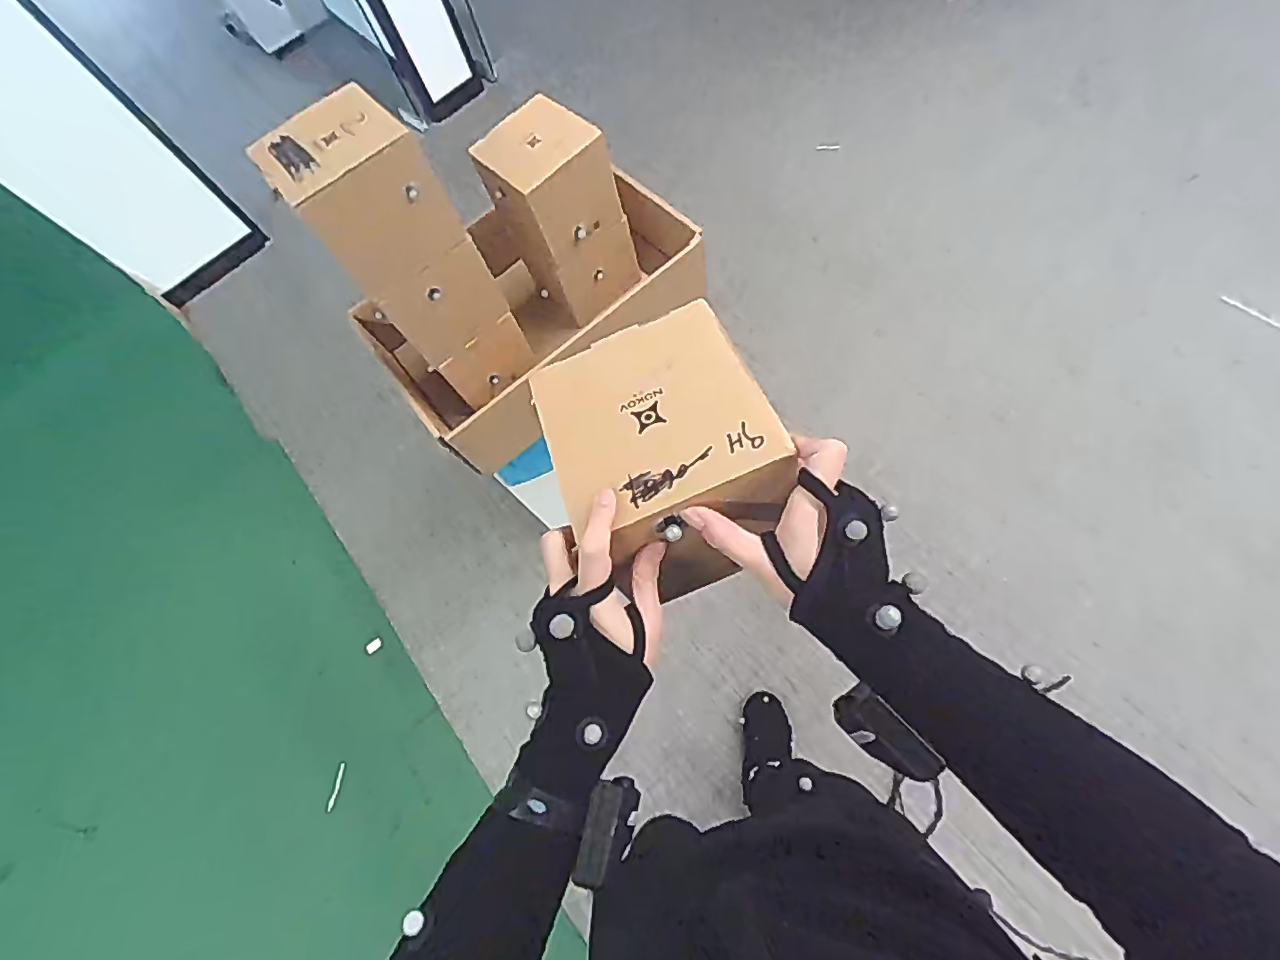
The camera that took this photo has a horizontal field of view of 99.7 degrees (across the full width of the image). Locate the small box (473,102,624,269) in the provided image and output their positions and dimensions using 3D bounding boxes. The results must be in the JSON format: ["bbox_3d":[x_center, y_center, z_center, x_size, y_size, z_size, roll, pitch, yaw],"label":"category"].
[{"bbox_3d":[-0.155,-0.513,0.956,0.168,0.176,0.179,-42,66,-6],"label":"small box"}]

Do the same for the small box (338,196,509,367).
[{"bbox_3d":[-0.355,-0.327,0.915,0.179,0.176,0.168,-41,67,-9],"label":"small box"}]

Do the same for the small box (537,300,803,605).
[{"bbox_3d":[0.031,-0.017,0.480,0.168,0.176,0.179,-24,56,4],"label":"small box"}]
